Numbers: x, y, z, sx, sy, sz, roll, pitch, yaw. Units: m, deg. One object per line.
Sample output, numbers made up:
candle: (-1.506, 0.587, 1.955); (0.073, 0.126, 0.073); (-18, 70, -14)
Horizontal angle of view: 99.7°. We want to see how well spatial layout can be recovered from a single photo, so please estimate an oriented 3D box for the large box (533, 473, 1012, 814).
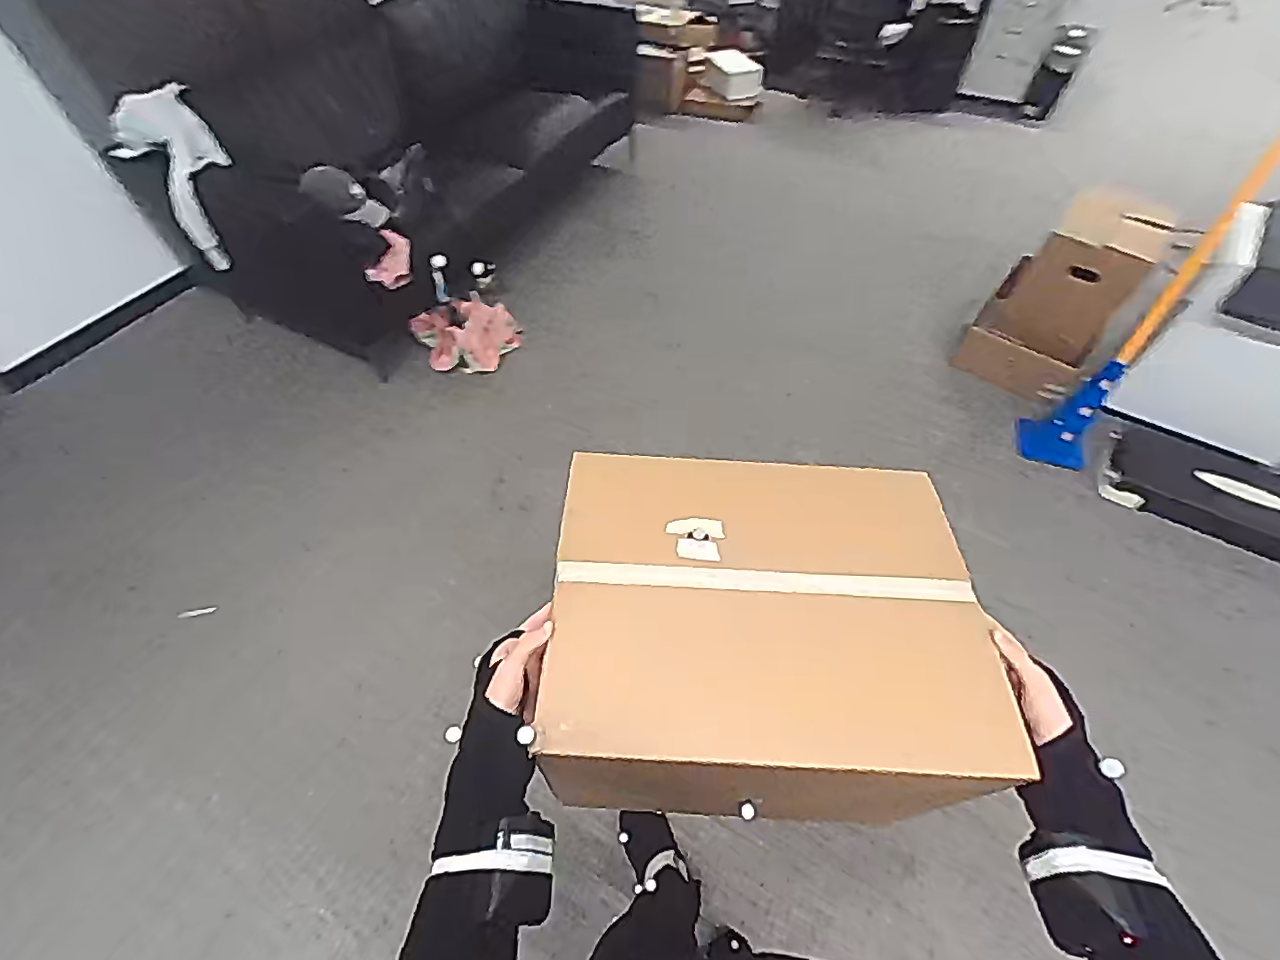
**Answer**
large box: (0.110, 0.206, 0.648); (0.408, 0.320, 0.320); (2, 51, 0)
